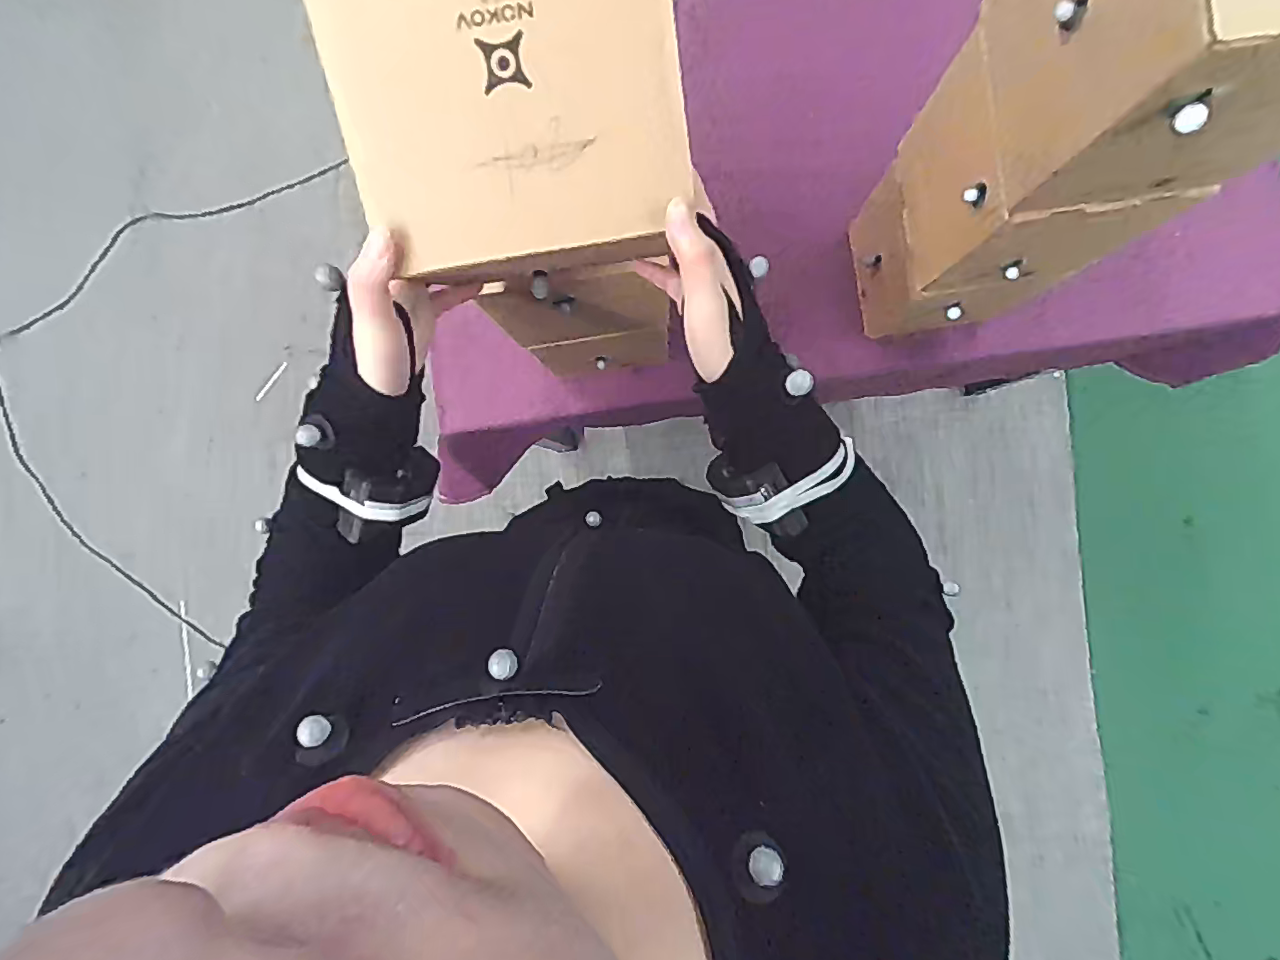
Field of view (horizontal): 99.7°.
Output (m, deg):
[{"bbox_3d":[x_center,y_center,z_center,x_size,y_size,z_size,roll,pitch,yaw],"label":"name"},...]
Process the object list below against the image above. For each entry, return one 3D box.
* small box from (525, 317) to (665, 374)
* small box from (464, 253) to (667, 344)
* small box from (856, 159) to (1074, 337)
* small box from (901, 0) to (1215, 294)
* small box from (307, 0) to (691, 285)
[{"bbox_3d":[-0.058,-0.243,0.705,0.168,0.176,0.179,-7,88,3],"label":"small box"},{"bbox_3d":[-0.069,-0.246,0.541,0.179,0.176,0.168,-8,89,3],"label":"small box"},{"bbox_3d":[0.386,-0.291,0.680,0.179,0.176,0.168,-8,88,4],"label":"small box"},{"bbox_3d":[0.372,-0.301,0.518,0.168,0.176,0.179,-7,89,3],"label":"small box"},{"bbox_3d":[-0.068,-0.221,0.327,0.168,0.176,0.179,-8,109,0],"label":"small box"}]
